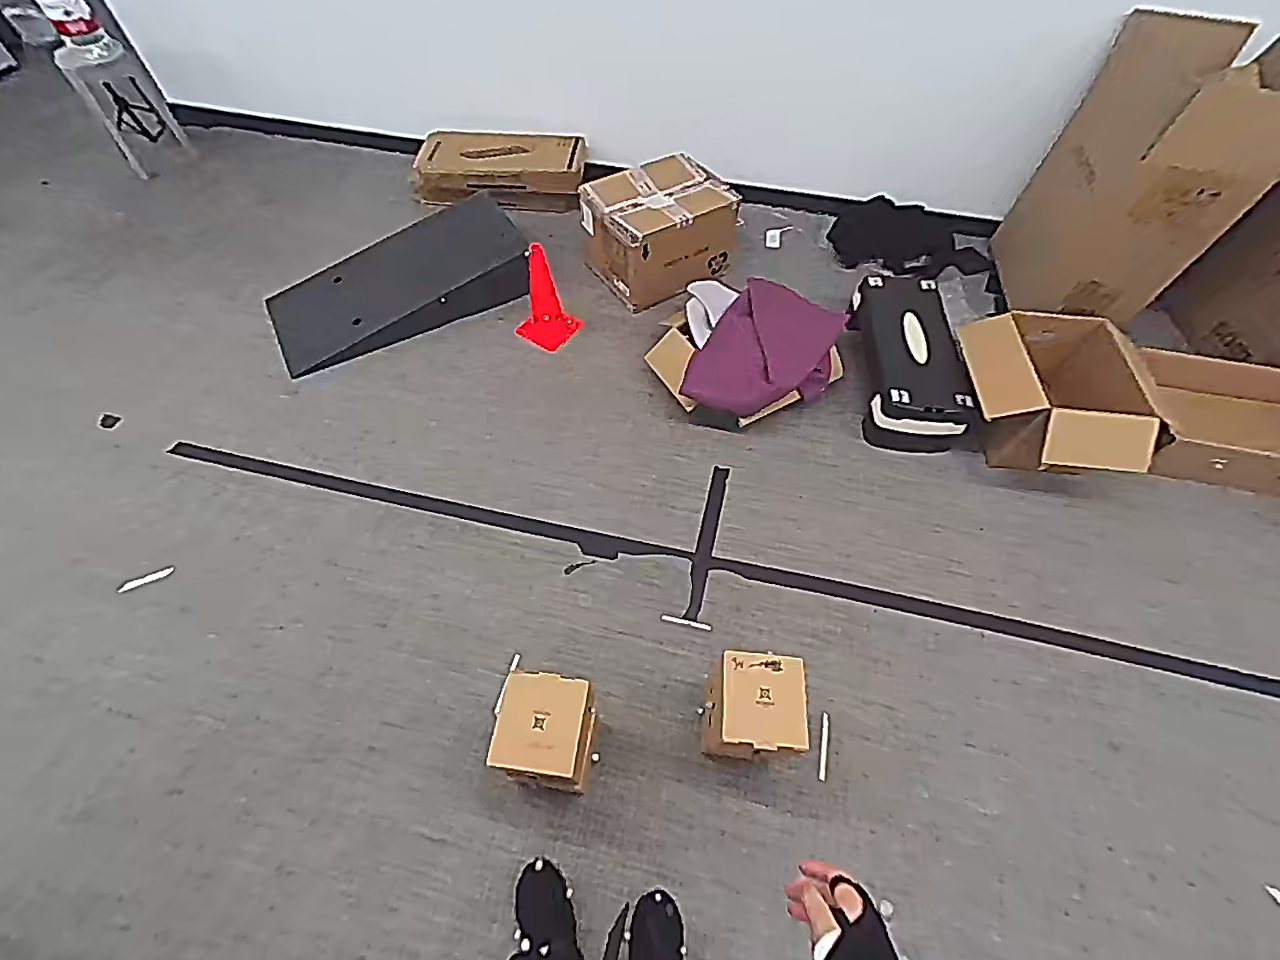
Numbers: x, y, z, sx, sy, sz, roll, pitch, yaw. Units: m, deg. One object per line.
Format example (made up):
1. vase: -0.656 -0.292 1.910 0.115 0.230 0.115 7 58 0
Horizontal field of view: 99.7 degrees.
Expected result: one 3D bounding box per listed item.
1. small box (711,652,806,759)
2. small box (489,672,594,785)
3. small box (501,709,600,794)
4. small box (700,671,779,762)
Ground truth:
1. small box: 0.242 0.477 1.133 0.168 0.176 0.179 6 58 2
2. small box: -0.189 0.509 1.103 0.168 0.176 0.179 6 58 4
3. small box: -0.194 0.607 1.233 0.179 0.176 0.168 9 58 5
4. small box: 0.244 0.560 1.275 0.179 0.176 0.168 7 57 3
